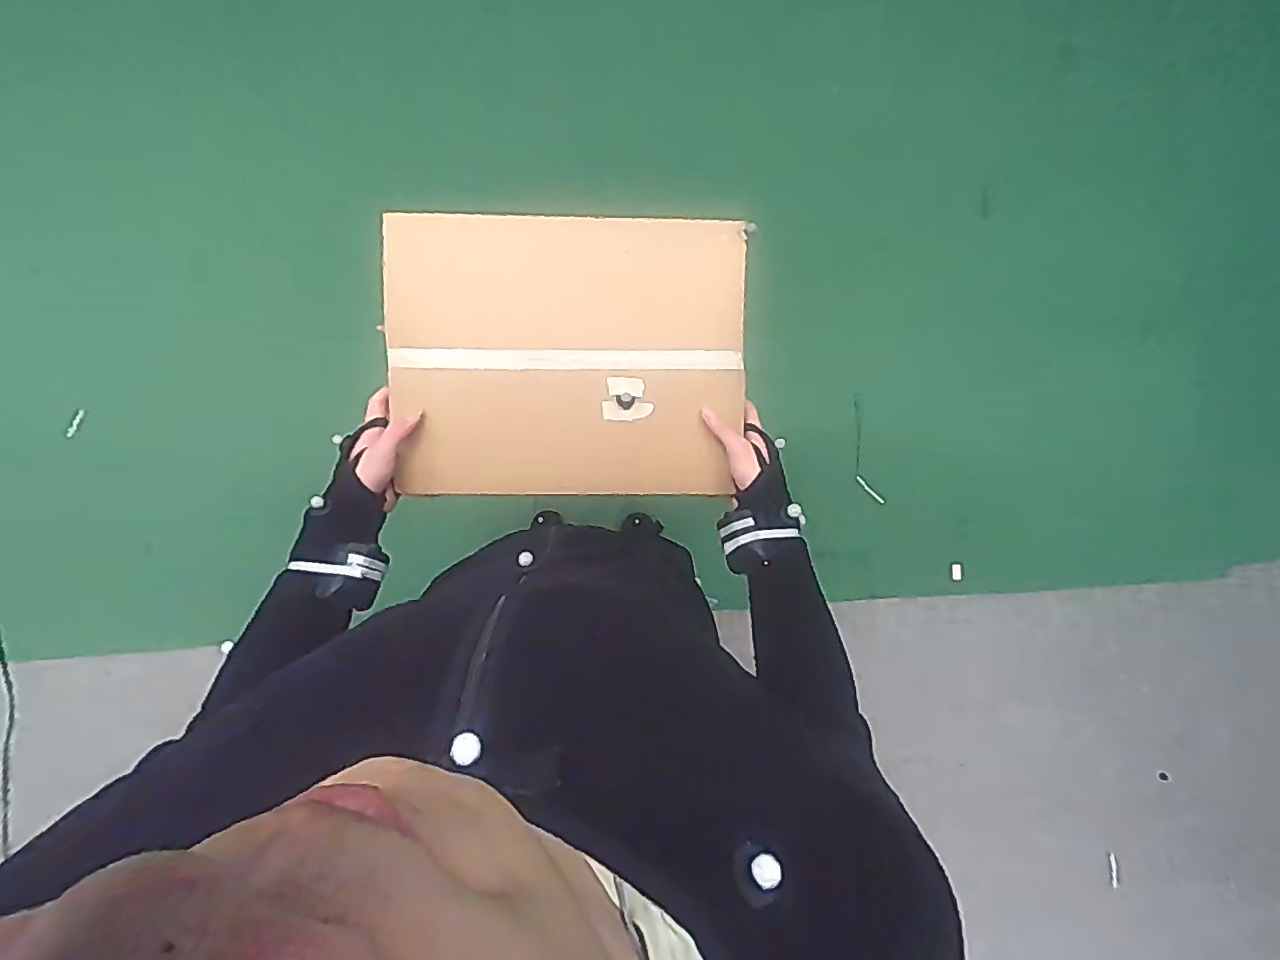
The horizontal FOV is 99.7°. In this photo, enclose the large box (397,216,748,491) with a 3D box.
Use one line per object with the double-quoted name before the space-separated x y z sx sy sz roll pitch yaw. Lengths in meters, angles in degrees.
"large box" -0.081 -0.159 0.774 0.408 0.320 0.320 0 97 -3
